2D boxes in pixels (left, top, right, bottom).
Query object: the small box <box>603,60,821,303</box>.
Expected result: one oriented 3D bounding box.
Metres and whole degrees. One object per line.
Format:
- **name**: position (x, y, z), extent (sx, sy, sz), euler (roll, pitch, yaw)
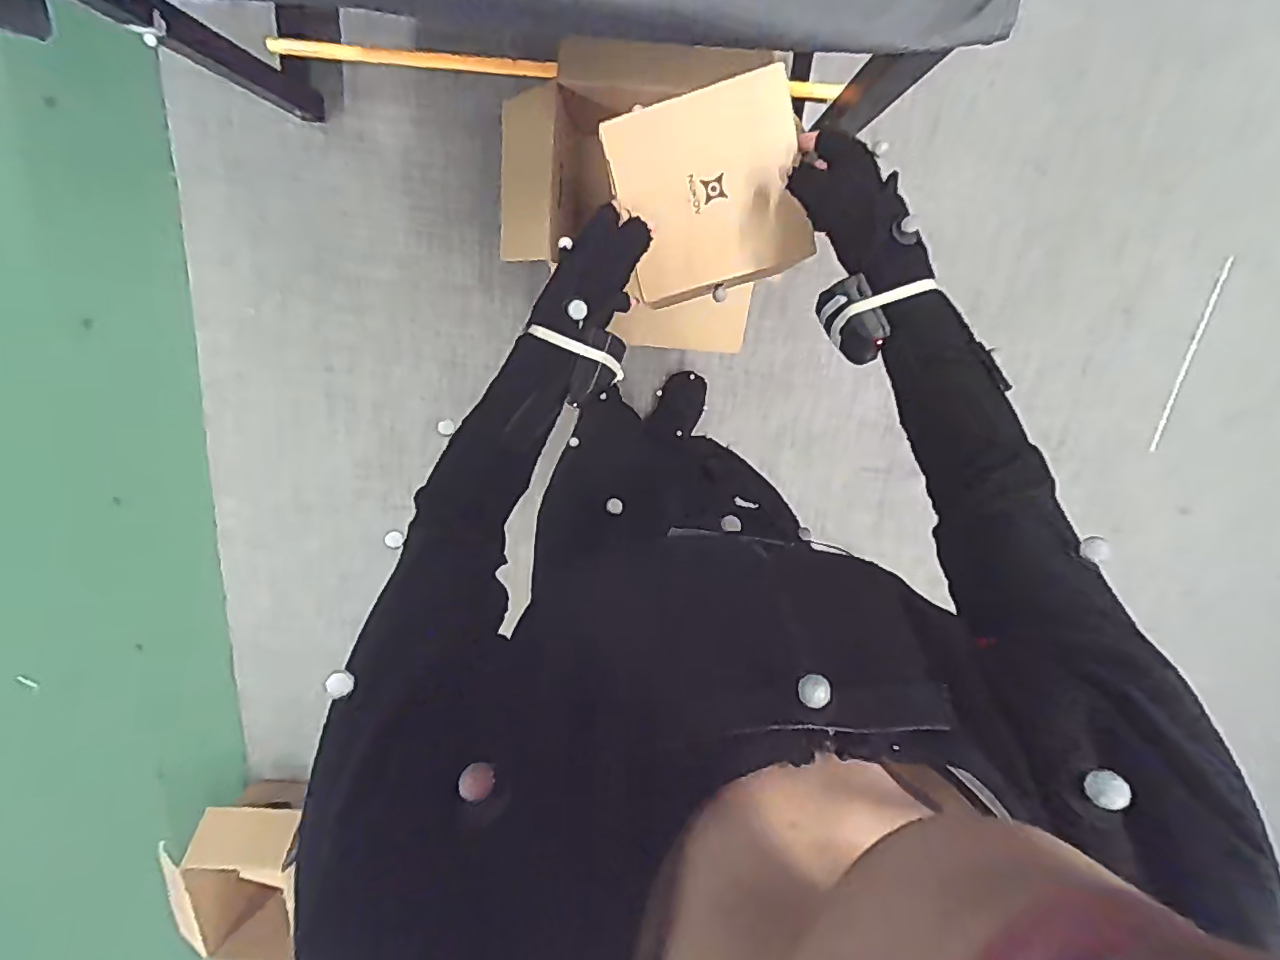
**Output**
- **small box**: position (0.074, -0.296, 0.579), extent (0.179, 0.176, 0.168), euler (-14, 105, 9)
